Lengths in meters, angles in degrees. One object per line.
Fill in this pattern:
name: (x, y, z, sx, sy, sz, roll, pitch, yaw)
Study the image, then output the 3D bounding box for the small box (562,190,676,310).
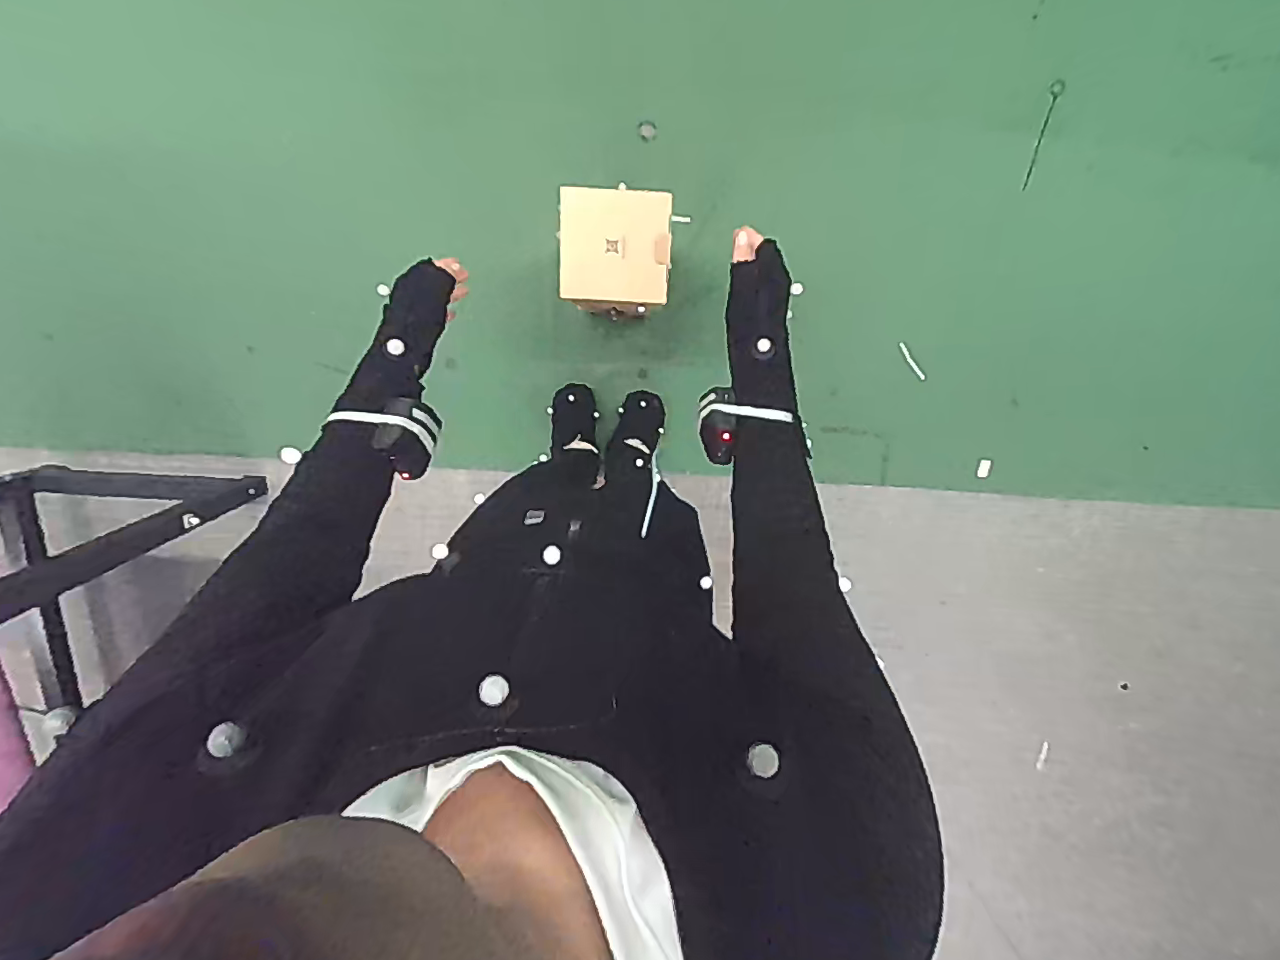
small box: (-0.037, -0.386, 0.933, 0.179, 0.176, 0.168, 2, 105, -2)

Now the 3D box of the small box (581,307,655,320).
small box: (-0.044, -0.469, 1.249, 0.168, 0.176, 0.179, 3, 105, -1)
